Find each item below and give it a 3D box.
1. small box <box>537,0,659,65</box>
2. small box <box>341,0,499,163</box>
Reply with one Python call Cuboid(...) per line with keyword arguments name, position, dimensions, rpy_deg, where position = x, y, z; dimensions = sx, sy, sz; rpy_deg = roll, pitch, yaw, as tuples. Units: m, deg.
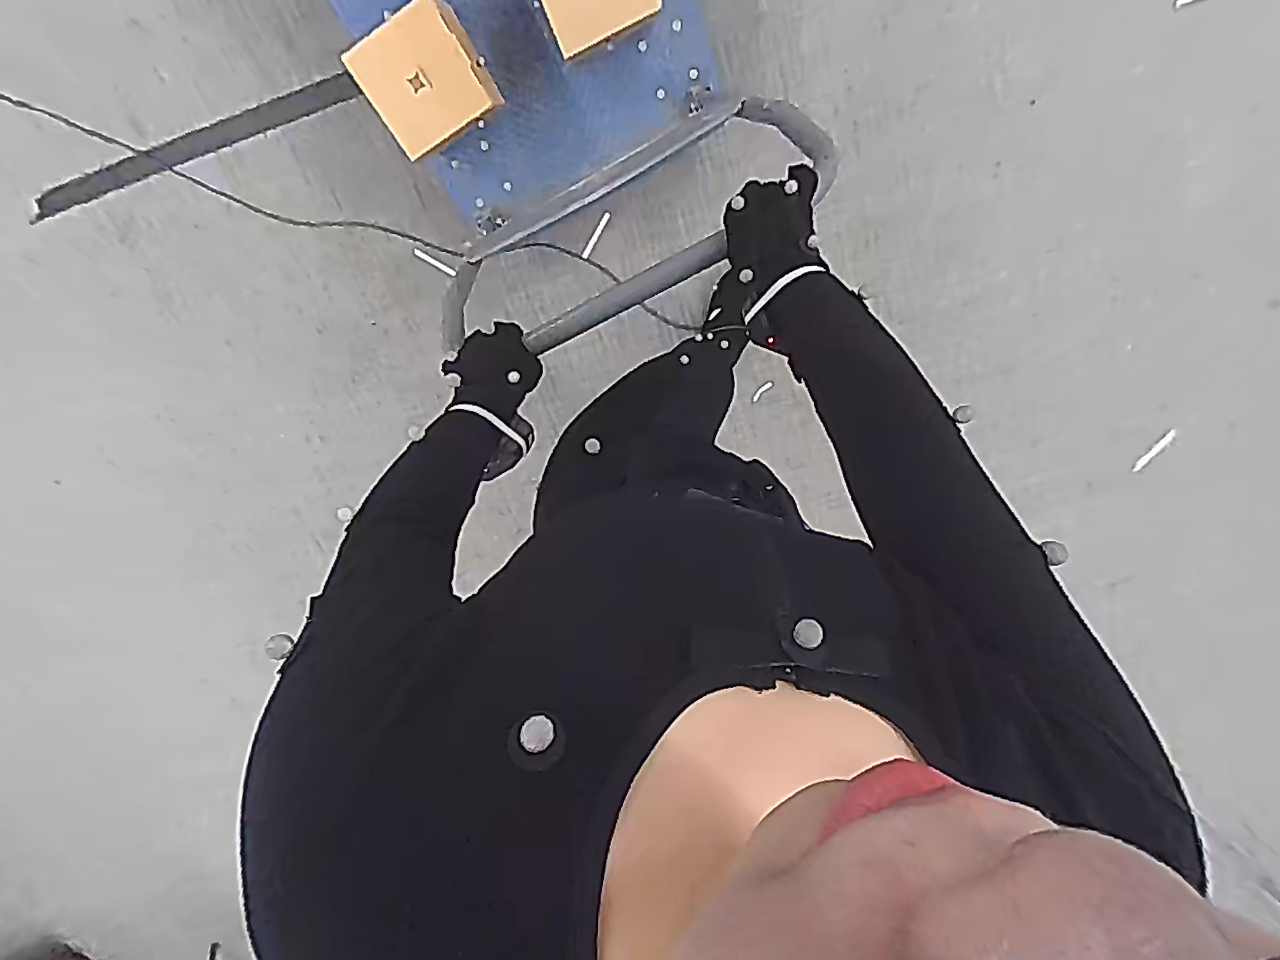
Cuboid(name="small box", position=(-0.083, -0.811, 0.881), dimensions=(0.179, 0.176, 0.168), rpy_deg=(-21, 124, 9))
Cuboid(name="small box", position=(-0.366, -0.682, 0.940), dimensions=(0.179, 0.176, 0.168), rpy_deg=(-28, 122, 12))
